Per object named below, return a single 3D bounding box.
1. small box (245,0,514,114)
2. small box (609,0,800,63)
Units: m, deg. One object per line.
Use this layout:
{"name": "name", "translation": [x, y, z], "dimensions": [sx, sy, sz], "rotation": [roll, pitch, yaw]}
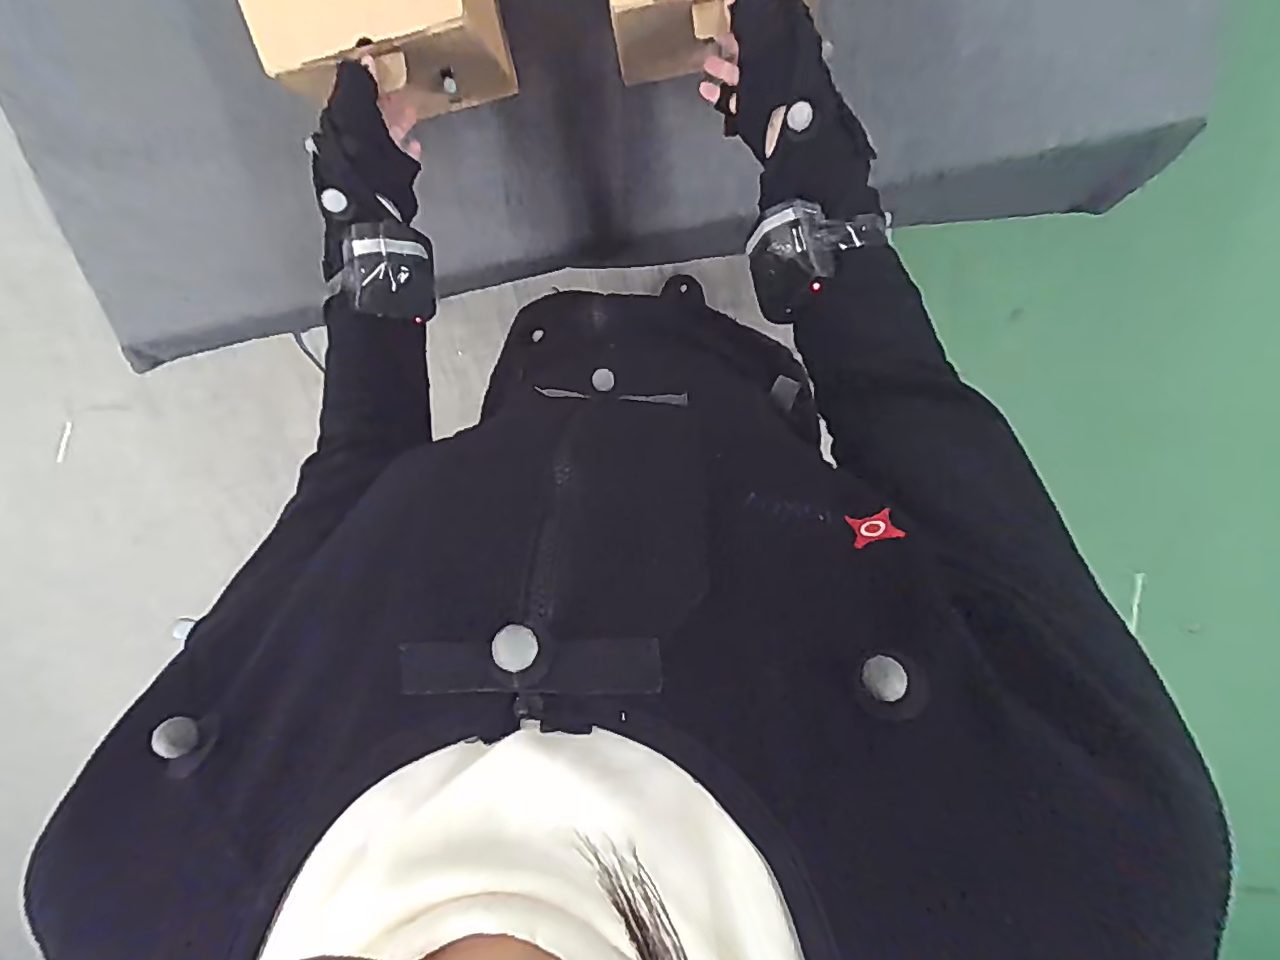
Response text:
{"name": "small box", "translation": [-0.222, -0.440, 0.457], "dimensions": [0.168, 0.176, 0.179], "rotation": [-12, 108, 5]}
{"name": "small box", "translation": [0.048, -0.469, 0.434], "dimensions": [0.168, 0.176, 0.179], "rotation": [-8, 111, 4]}
